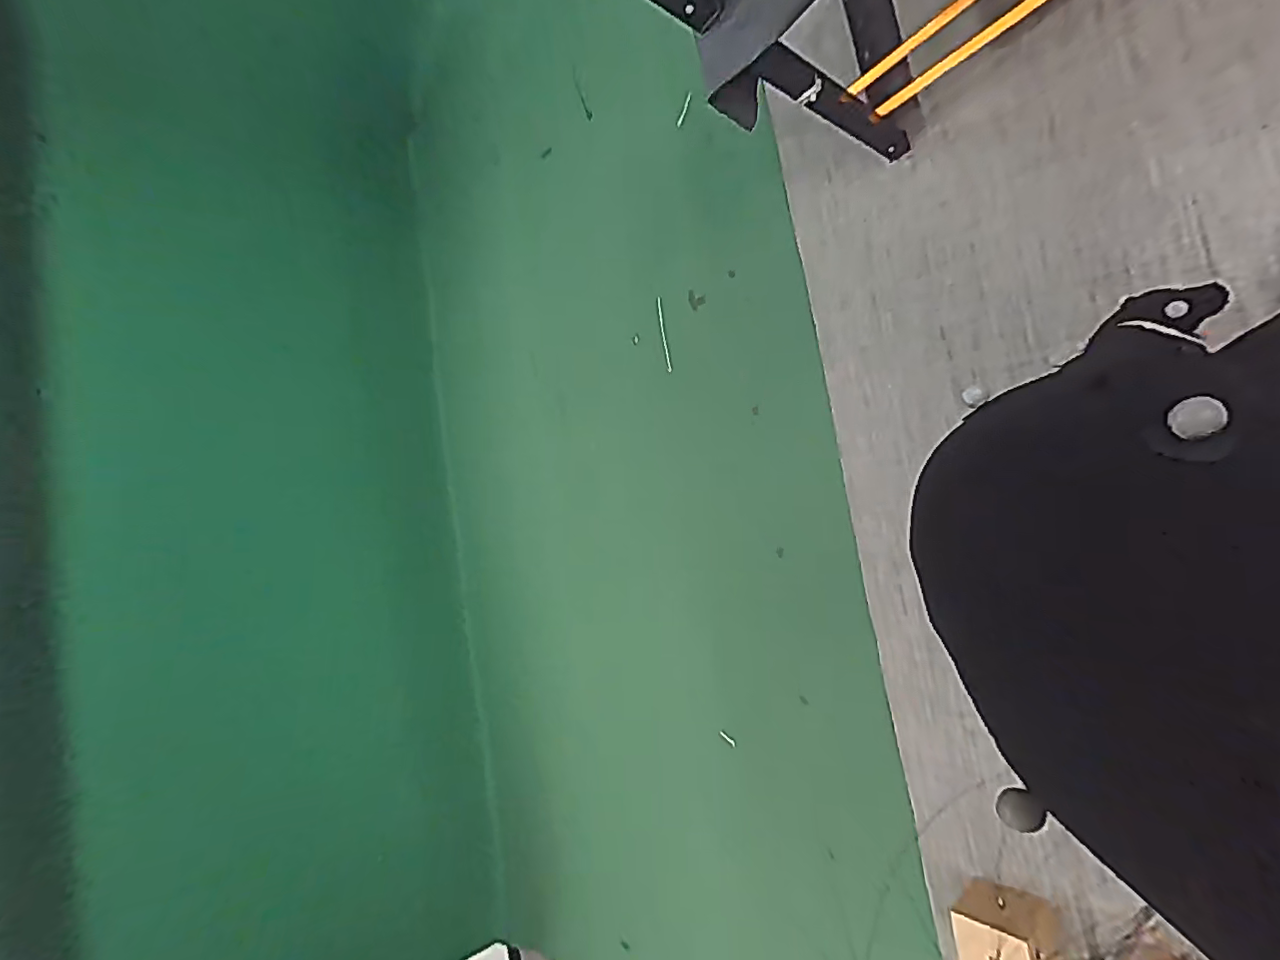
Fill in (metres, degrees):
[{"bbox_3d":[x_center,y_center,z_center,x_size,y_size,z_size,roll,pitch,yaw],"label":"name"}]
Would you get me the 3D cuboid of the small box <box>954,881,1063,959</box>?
[{"bbox_3d":[0.886,1.116,1.295,0.168,0.176,0.179,-15,81,51],"label":"small box"}]
